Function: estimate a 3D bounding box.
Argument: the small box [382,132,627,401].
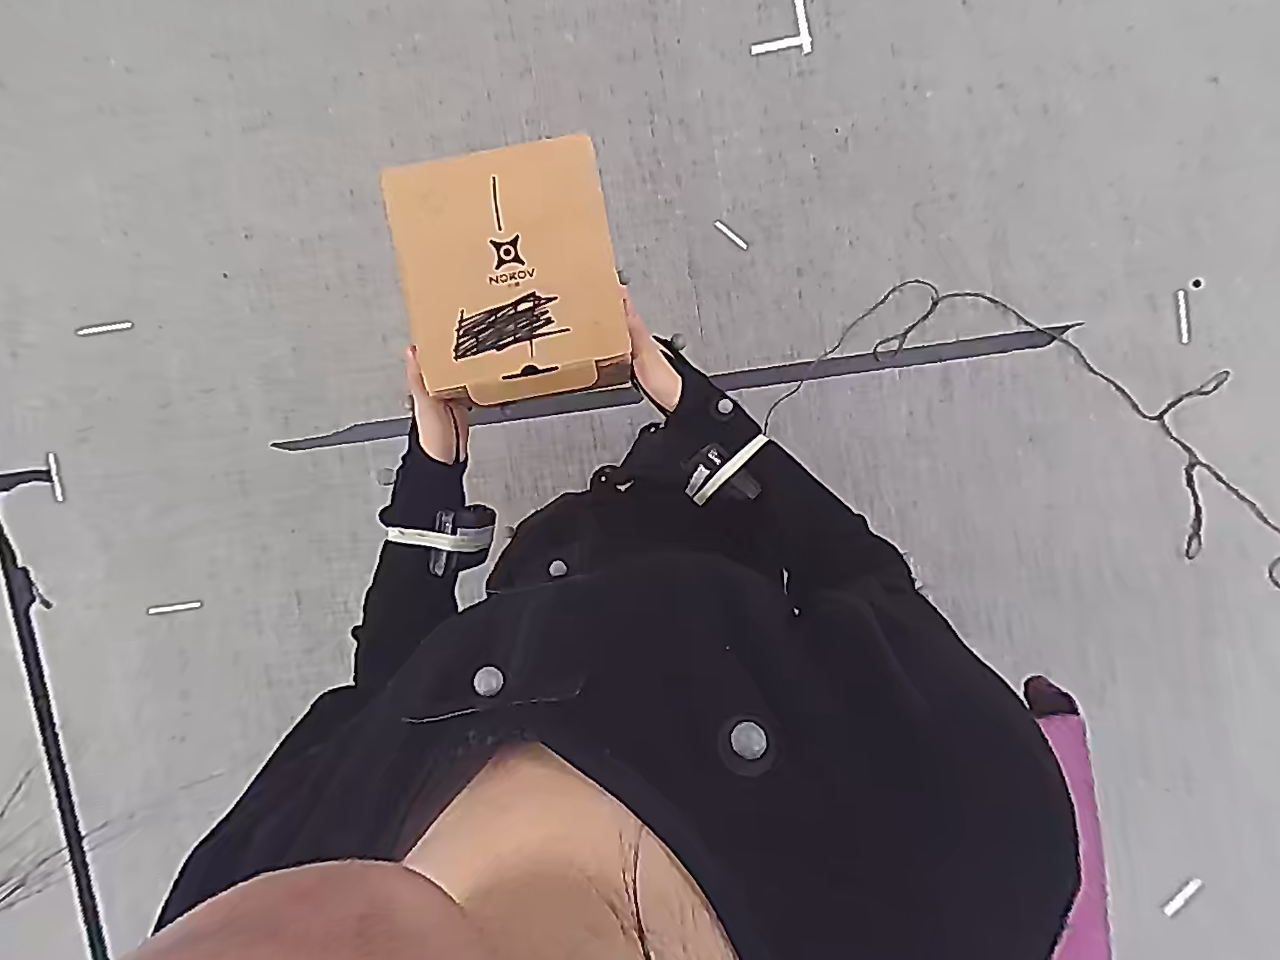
[{"bbox_3d":[-0.104,-0.172,0.496,0.168,0.176,0.179,-10,93,-1],"label":"small box"}]

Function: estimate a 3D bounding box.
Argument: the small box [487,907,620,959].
[{"bbox_3d":[-0.117,0.720,0.719,0.179,0.176,0.168,-10,94,1],"label":"small box"}]
